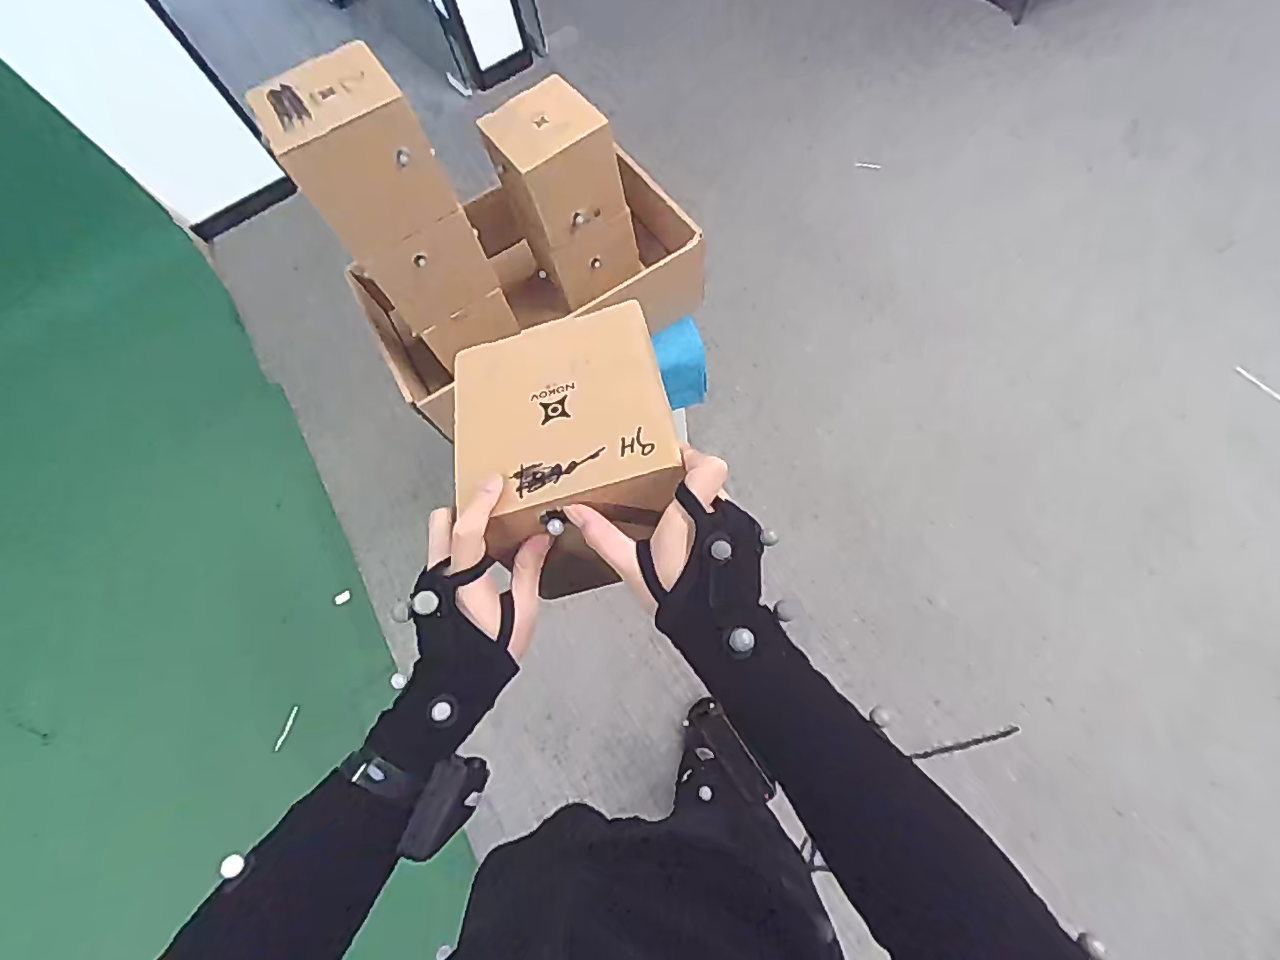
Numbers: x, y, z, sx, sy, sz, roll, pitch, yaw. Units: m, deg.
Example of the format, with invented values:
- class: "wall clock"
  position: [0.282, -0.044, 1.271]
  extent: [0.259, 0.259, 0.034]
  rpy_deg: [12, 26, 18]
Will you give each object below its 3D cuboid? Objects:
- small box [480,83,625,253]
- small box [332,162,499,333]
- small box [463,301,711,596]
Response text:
- class: "small box"
  position: [-0.147, -0.543, 0.955]
  extent: [0.168, 0.176, 0.179]
  rpy_deg: [-34, 66, -5]
- class: "small box"
  position: [-0.372, -0.386, 0.920]
  extent: [0.179, 0.176, 0.168]
  rpy_deg: [-33, 67, -8]
- class: "small box"
  position: [-0.042, -0.020, 0.483]
  extent: [0.168, 0.176, 0.179]
  rpy_deg: [-16, 56, 5]
